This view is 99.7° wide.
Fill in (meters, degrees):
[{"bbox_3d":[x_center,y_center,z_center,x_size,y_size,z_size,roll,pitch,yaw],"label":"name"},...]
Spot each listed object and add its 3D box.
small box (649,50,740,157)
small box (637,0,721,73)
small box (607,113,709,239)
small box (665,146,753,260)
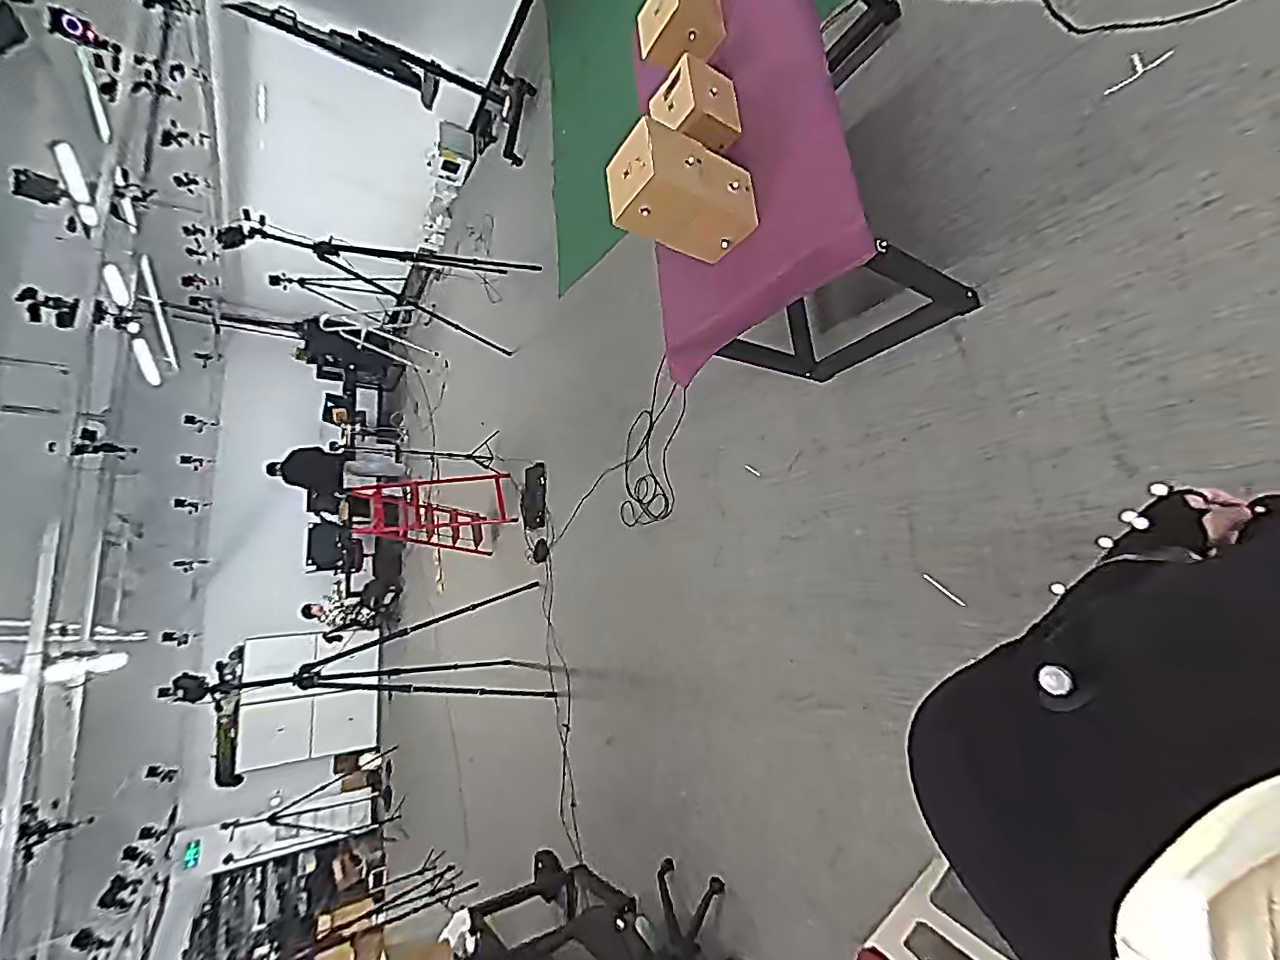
[{"bbox_3d":[0.147,-0.983,1.455,0.168,0.176,0.179,-25,68,52],"label":"small box"},{"bbox_3d":[0.115,-1.293,1.531,0.179,0.176,0.168,-23,68,53],"label":"small box"},{"bbox_3d":[0.040,-0.712,1.294,0.179,0.176,0.168,-25,68,51],"label":"small box"},{"bbox_3d":[0.175,-0.701,1.389,0.179,0.176,0.168,-24,67,51],"label":"small box"}]
